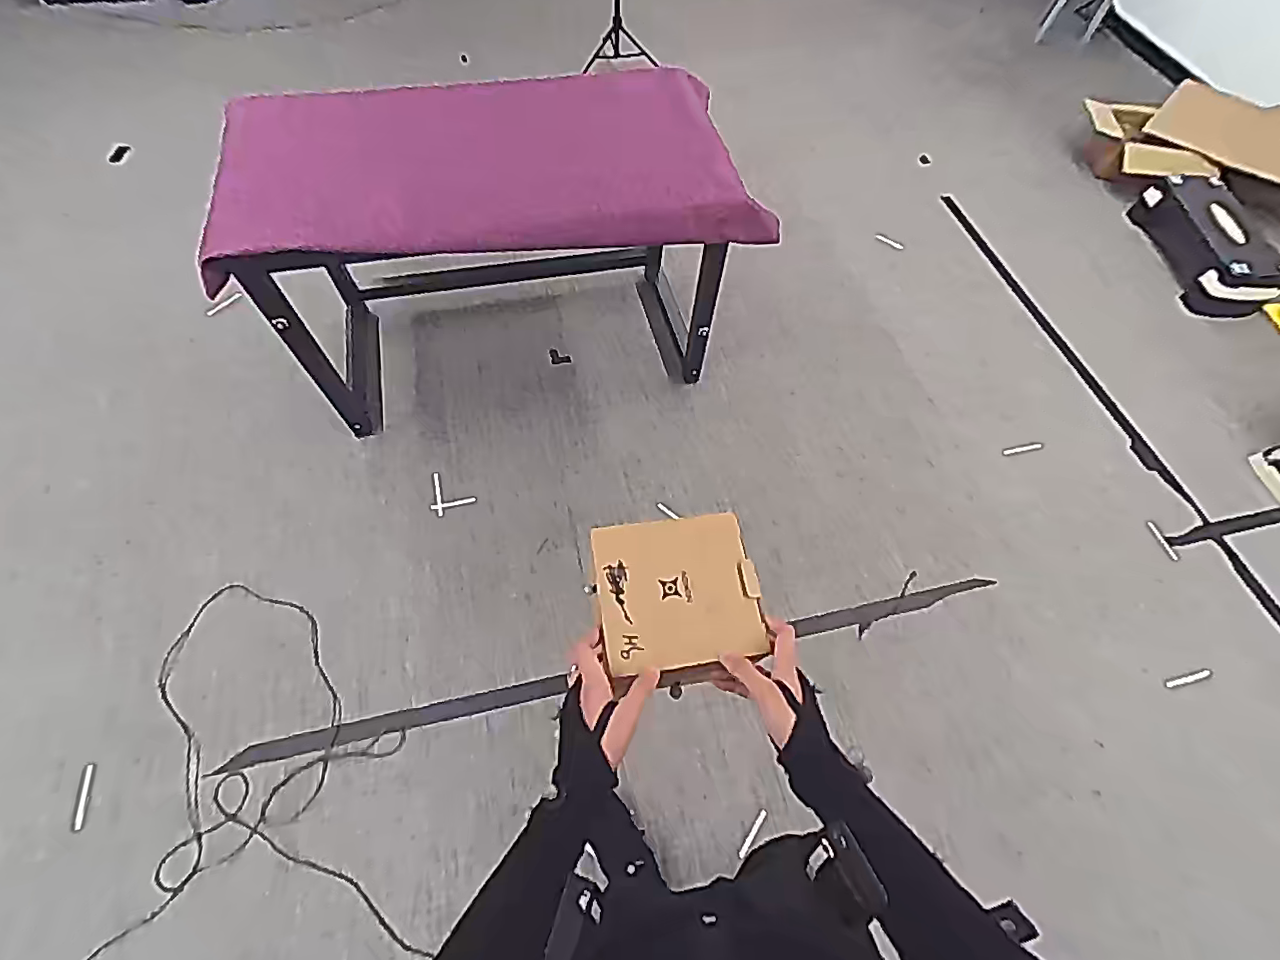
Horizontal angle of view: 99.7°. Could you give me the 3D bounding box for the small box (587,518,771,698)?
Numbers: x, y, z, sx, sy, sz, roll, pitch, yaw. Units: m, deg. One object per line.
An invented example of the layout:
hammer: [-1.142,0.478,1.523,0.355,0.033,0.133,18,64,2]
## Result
small box: [0.032,0.159,0.656,0.179,0.176,0.168,-5,62,-10]
